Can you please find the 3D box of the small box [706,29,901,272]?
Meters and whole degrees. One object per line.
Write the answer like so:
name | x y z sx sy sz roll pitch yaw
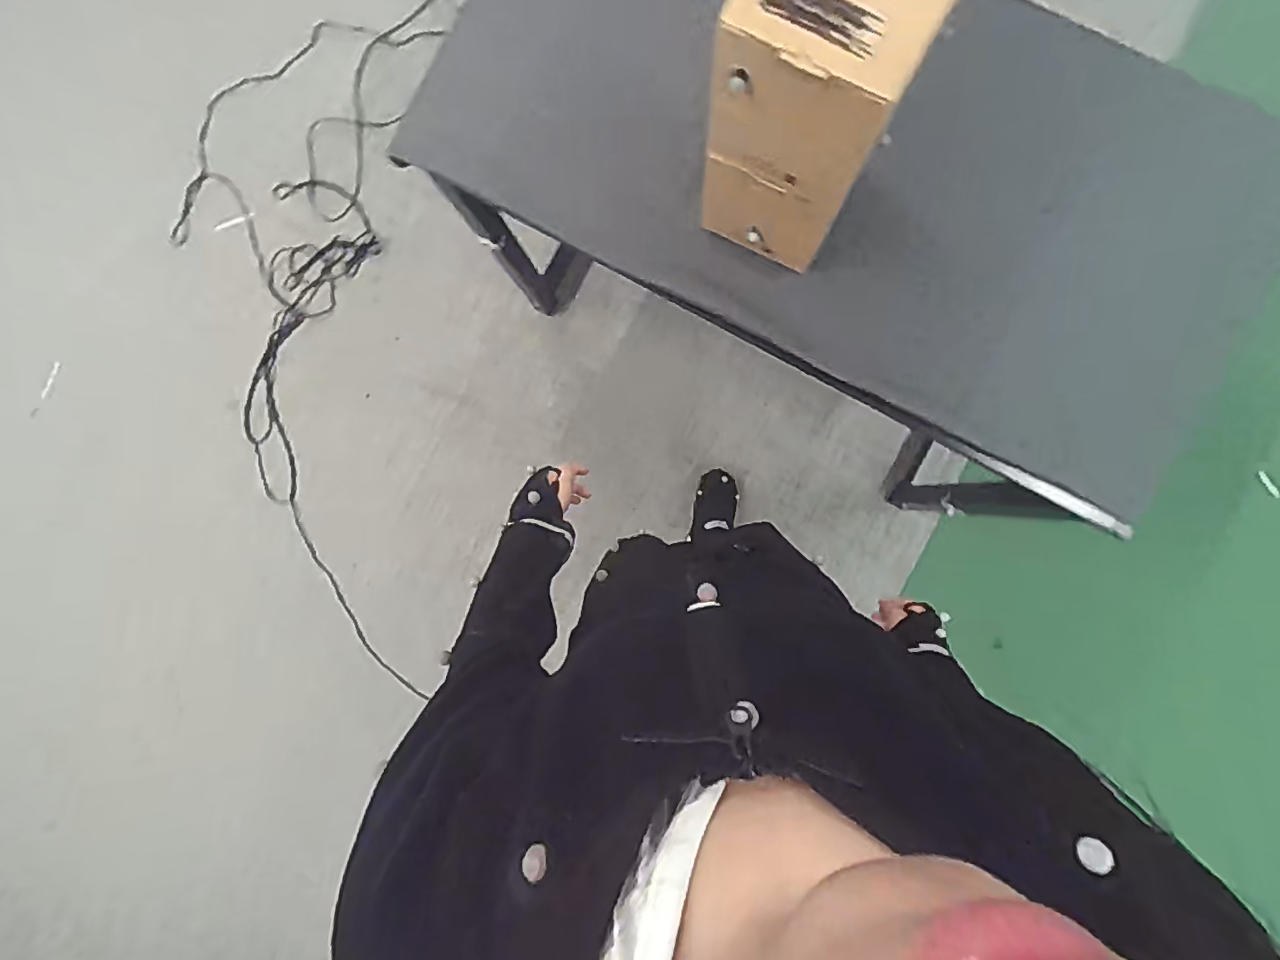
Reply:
small box | 0.194 -0.409 0.701 0.168 0.176 0.179 28 90 5
